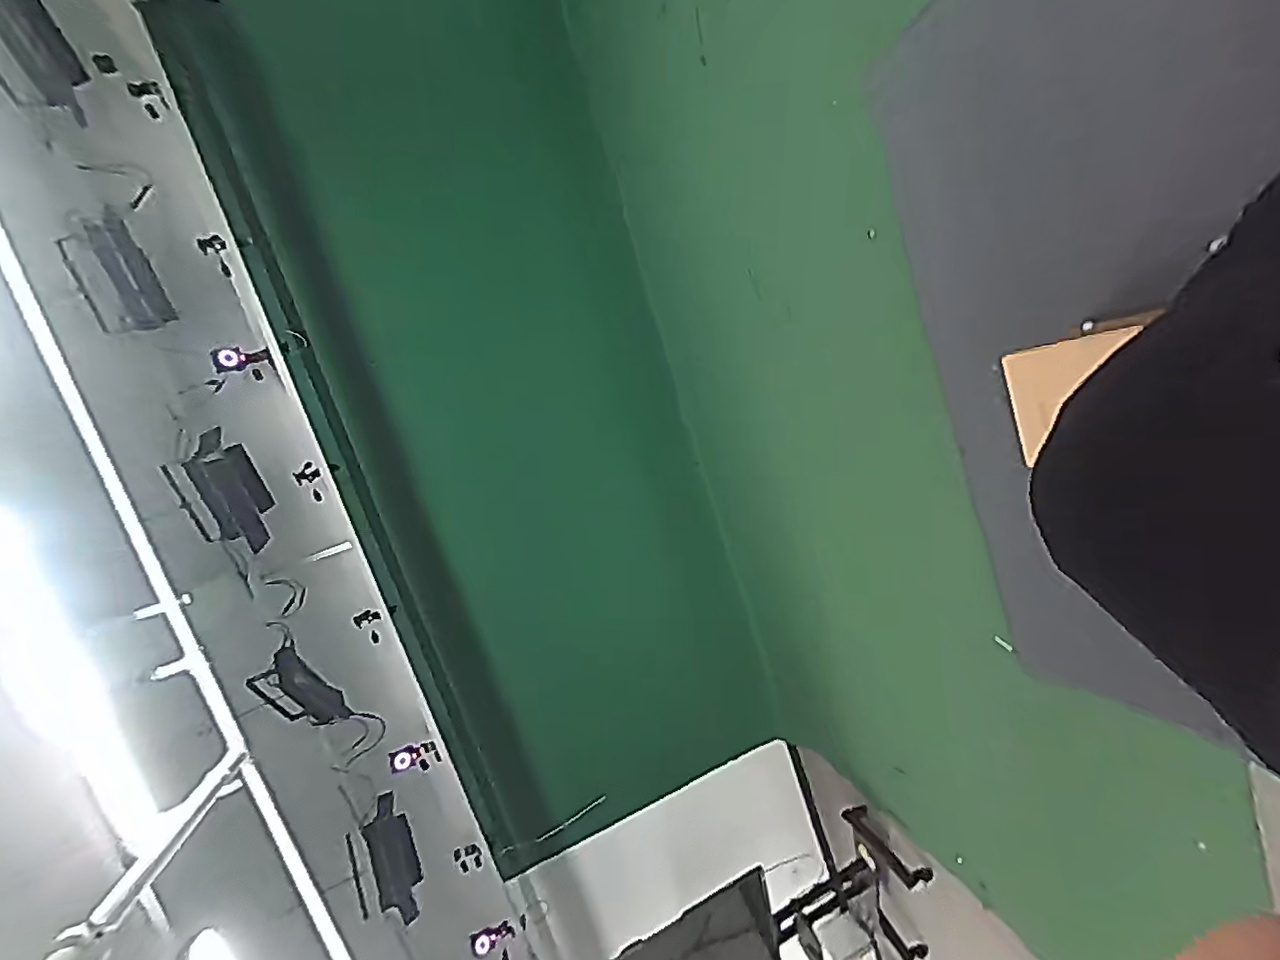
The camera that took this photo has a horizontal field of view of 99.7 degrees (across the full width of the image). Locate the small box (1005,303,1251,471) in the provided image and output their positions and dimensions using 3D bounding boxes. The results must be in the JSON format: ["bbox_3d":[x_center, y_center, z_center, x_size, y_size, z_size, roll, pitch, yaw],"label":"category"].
[{"bbox_3d":[0.636,-0.115,0.708,0.179,0.176,0.168,-174,66,-75],"label":"small box"}]
